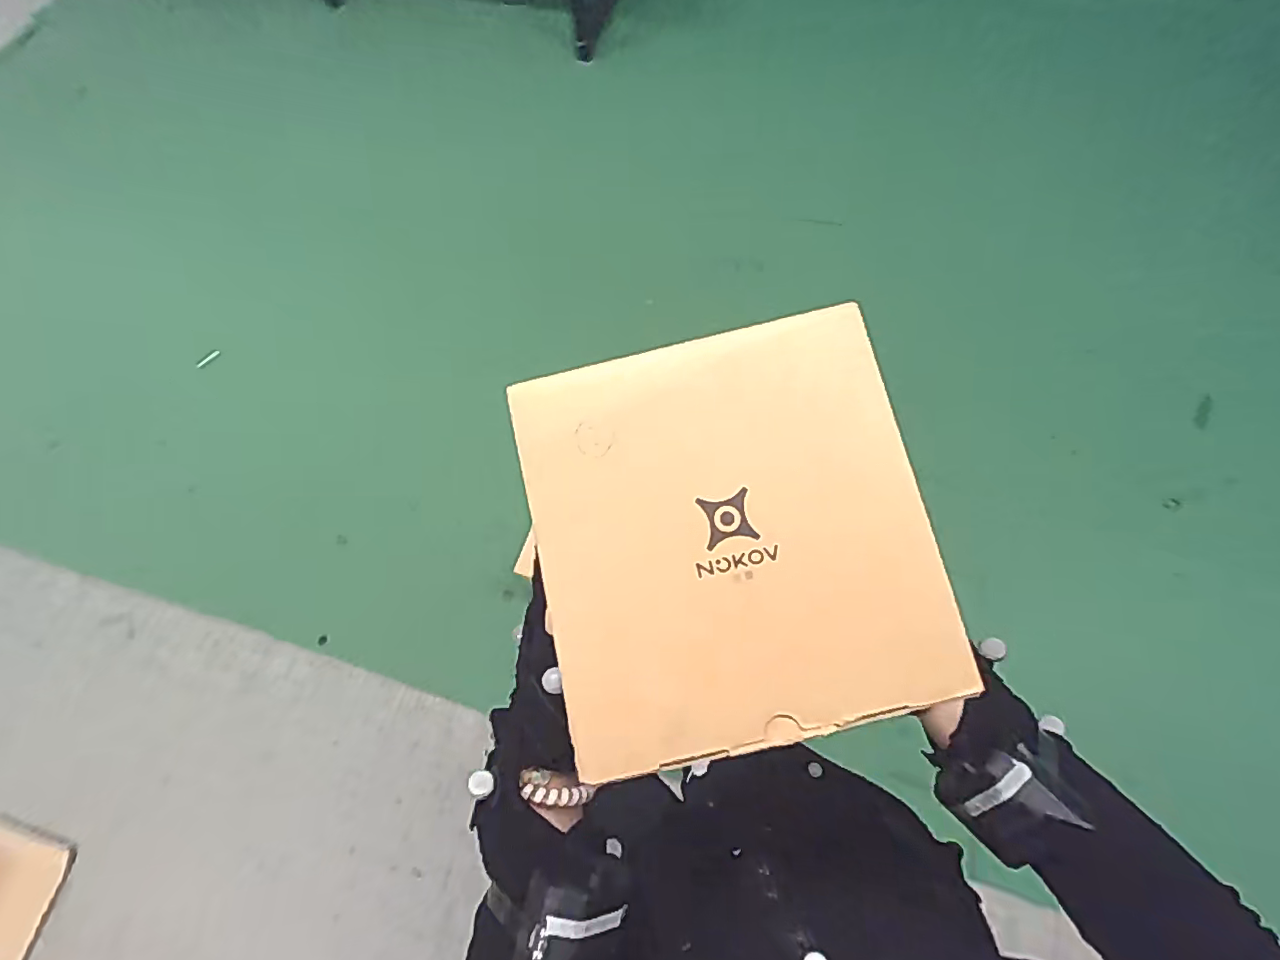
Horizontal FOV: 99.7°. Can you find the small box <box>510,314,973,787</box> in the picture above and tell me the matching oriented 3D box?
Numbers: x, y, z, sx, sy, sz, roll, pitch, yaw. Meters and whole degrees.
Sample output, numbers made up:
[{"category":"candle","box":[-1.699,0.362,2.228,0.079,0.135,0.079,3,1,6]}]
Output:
[{"category":"small box","box":[0.039,0.037,0.312,0.168,0.176,0.179,-14,80,0]}]
